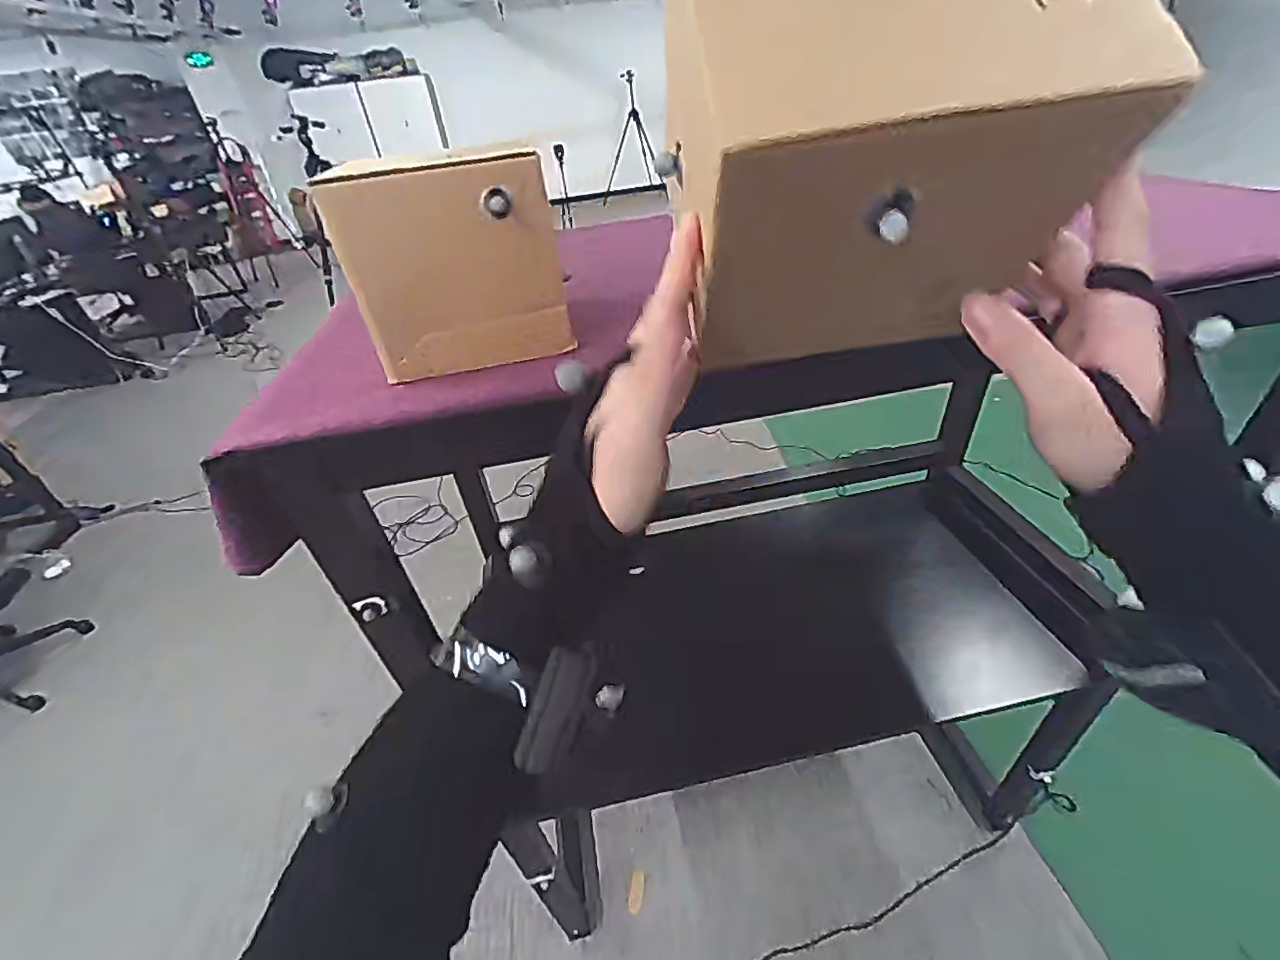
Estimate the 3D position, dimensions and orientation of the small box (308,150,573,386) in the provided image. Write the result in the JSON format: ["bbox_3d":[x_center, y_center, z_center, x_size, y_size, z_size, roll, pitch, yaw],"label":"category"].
[{"bbox_3d":[-0.173,-0.206,0.523,0.179,0.176,0.168,-12,37,-6],"label":"small box"}]

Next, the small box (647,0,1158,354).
[{"bbox_3d":[0.101,-0.187,0.299,0.179,0.176,0.168,-8,74,3],"label":"small box"}]
